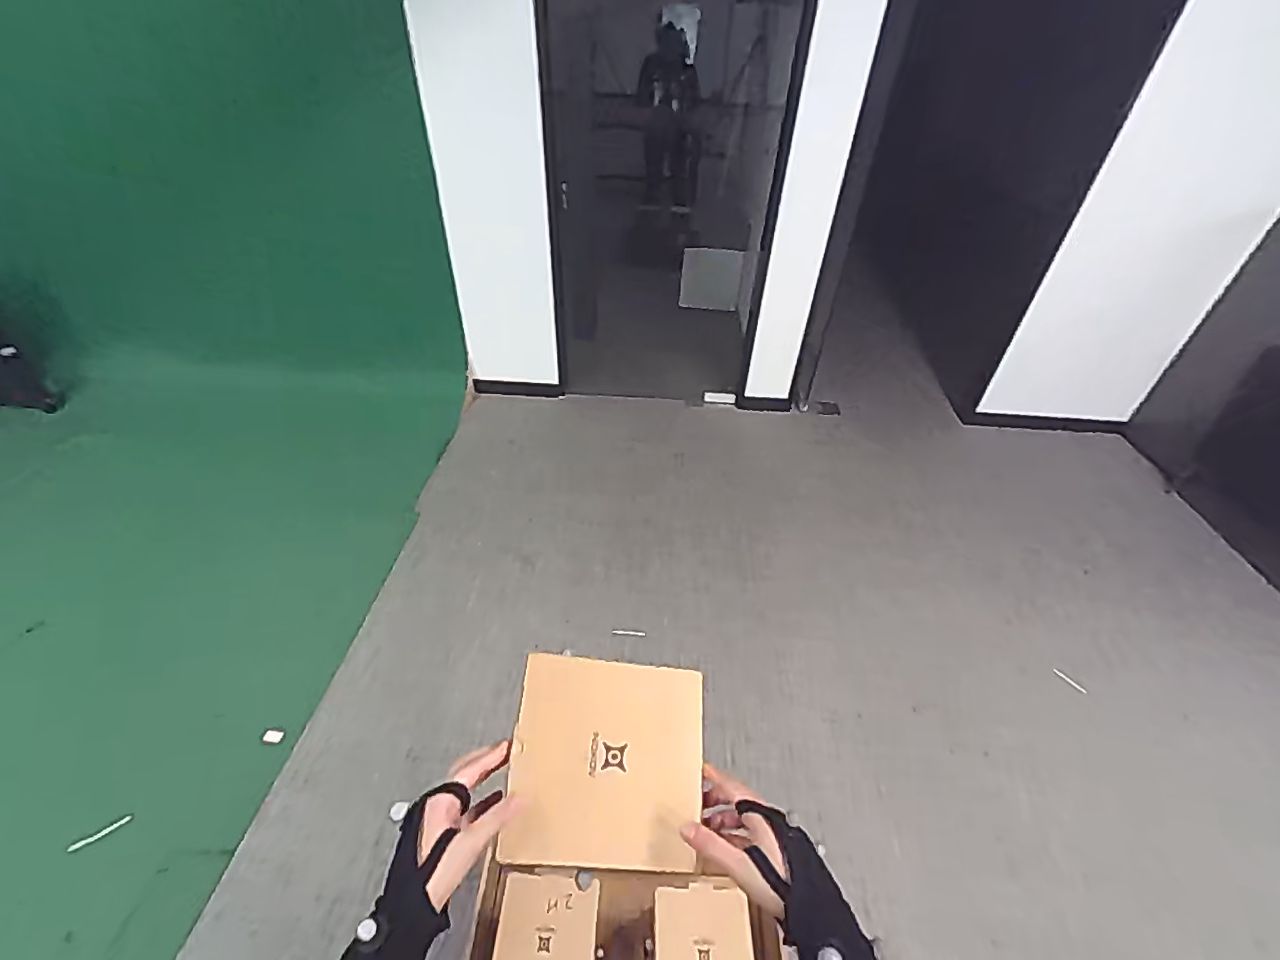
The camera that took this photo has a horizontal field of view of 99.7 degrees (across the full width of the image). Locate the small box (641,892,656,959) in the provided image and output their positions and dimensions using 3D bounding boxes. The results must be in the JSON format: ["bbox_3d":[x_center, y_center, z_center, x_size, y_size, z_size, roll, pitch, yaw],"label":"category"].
[{"bbox_3d":[0.092,0.942,1.080,0.179,0.176,0.168,-1,42,-4],"label":"small box"}]

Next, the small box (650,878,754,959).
[{"bbox_3d":[0.104,0.835,0.955,0.168,0.176,0.179,2,41,0],"label":"small box"}]

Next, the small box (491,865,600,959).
[{"bbox_3d":[-0.161,0.816,0.960,0.168,0.176,0.179,5,42,0],"label":"small box"}]

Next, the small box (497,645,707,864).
[{"bbox_3d":[-0.040,0.278,0.550,0.179,0.176,0.168,8,58,-8],"label":"small box"}]
